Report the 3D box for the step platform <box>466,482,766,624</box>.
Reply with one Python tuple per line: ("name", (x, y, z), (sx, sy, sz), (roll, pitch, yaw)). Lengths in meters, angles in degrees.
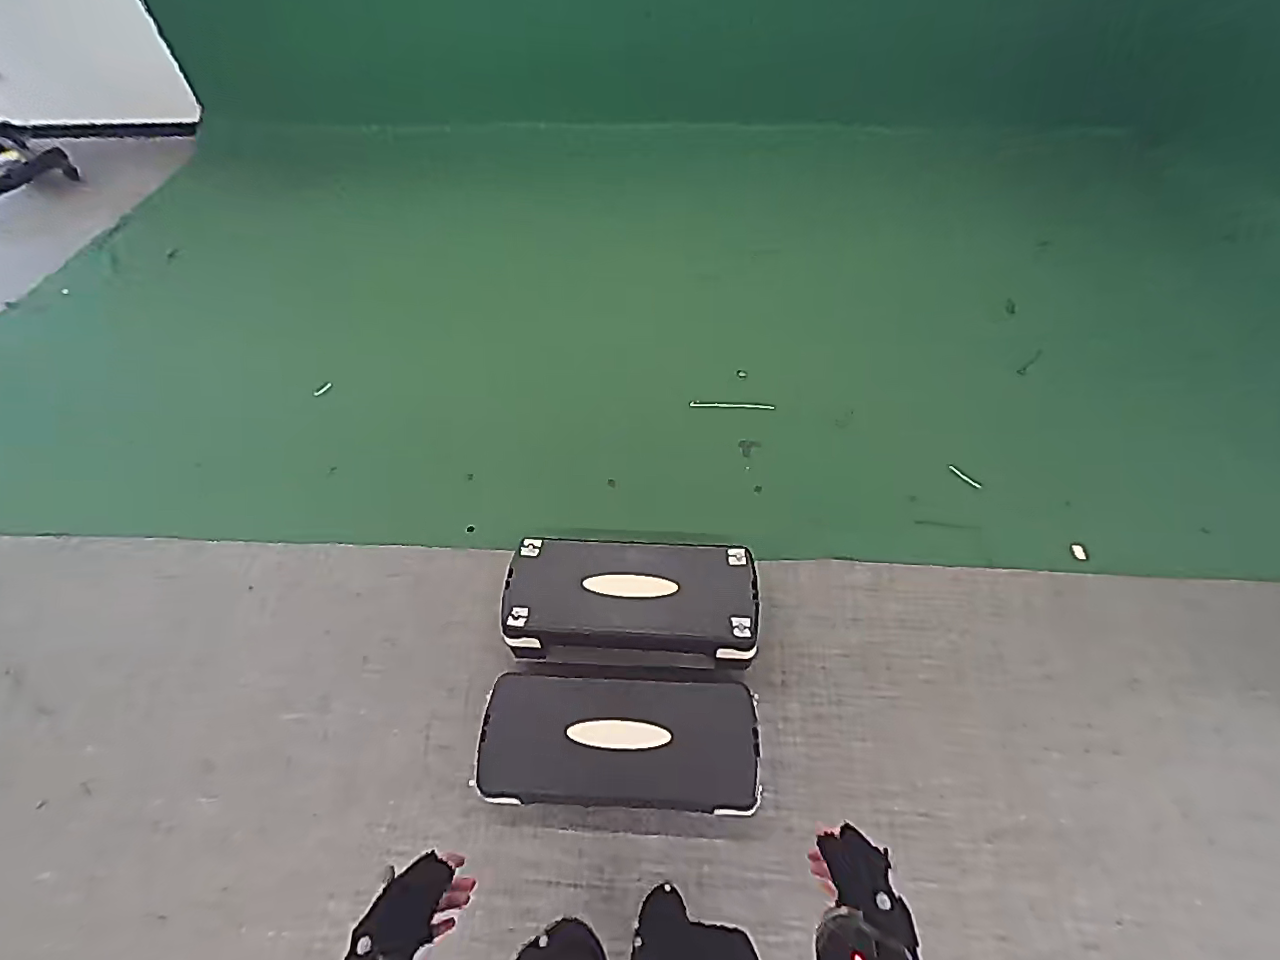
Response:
("step platform", (-0.052, 0.181, 1.323), (0.684, 0.204, 0.286), (1, 54, 4))
